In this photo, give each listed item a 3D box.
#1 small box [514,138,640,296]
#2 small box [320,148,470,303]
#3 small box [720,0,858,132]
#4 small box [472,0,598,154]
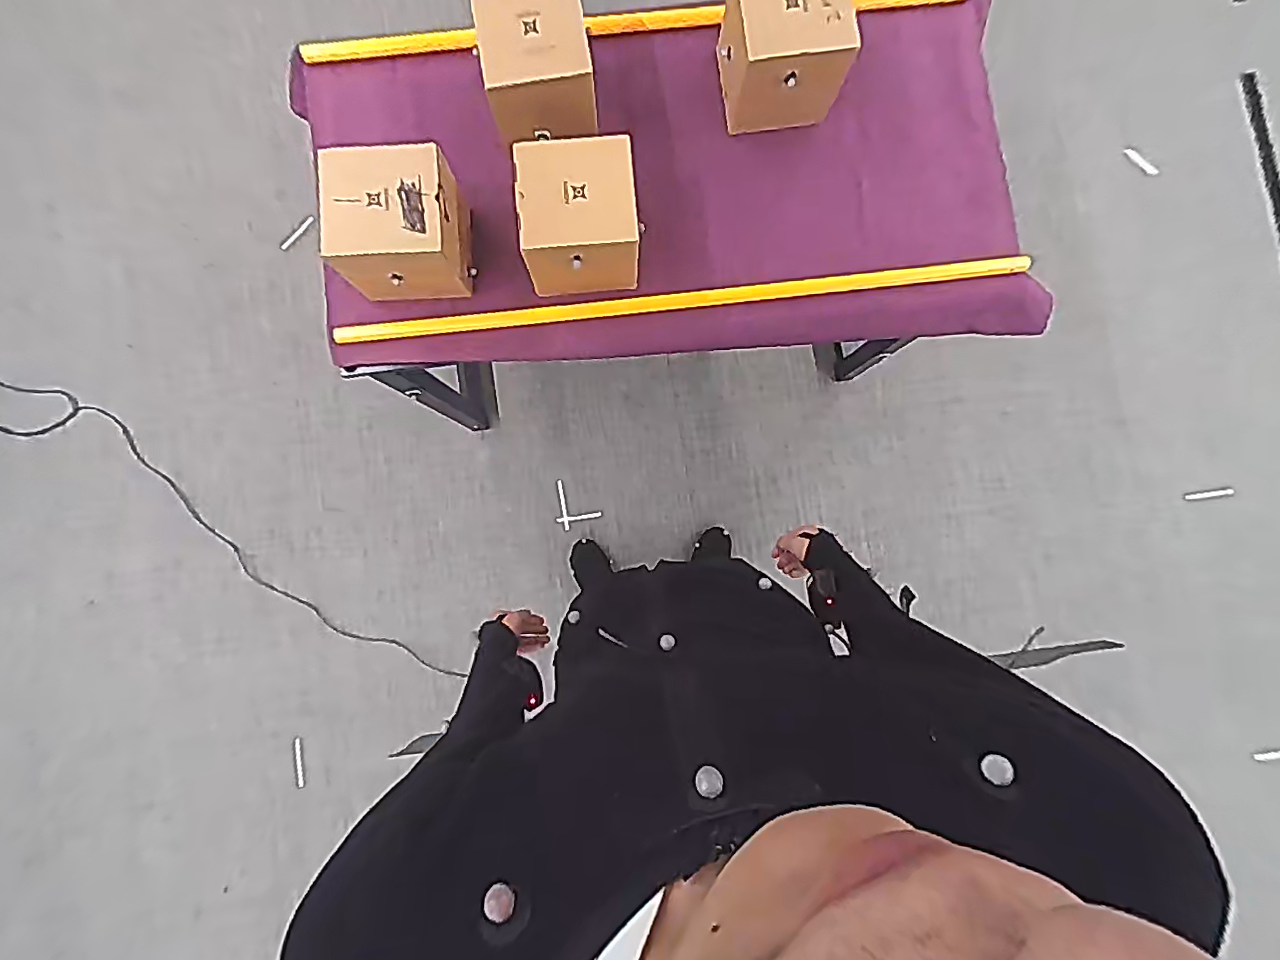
[{"bbox_3d":[-0.095,-0.412,0.871,0.179,0.176,0.168,-5,86,-1],"label":"small box"},{"bbox_3d":[-0.377,-0.395,0.862,0.179,0.176,0.168,-3,86,-1],"label":"small box"},{"bbox_3d":[0.234,-0.712,0.896,0.179,0.176,0.168,-7,88,-1],"label":"small box"},{"bbox_3d":[-0.166,-0.672,0.887,0.168,0.176,0.179,-10,87,-1],"label":"small box"}]
